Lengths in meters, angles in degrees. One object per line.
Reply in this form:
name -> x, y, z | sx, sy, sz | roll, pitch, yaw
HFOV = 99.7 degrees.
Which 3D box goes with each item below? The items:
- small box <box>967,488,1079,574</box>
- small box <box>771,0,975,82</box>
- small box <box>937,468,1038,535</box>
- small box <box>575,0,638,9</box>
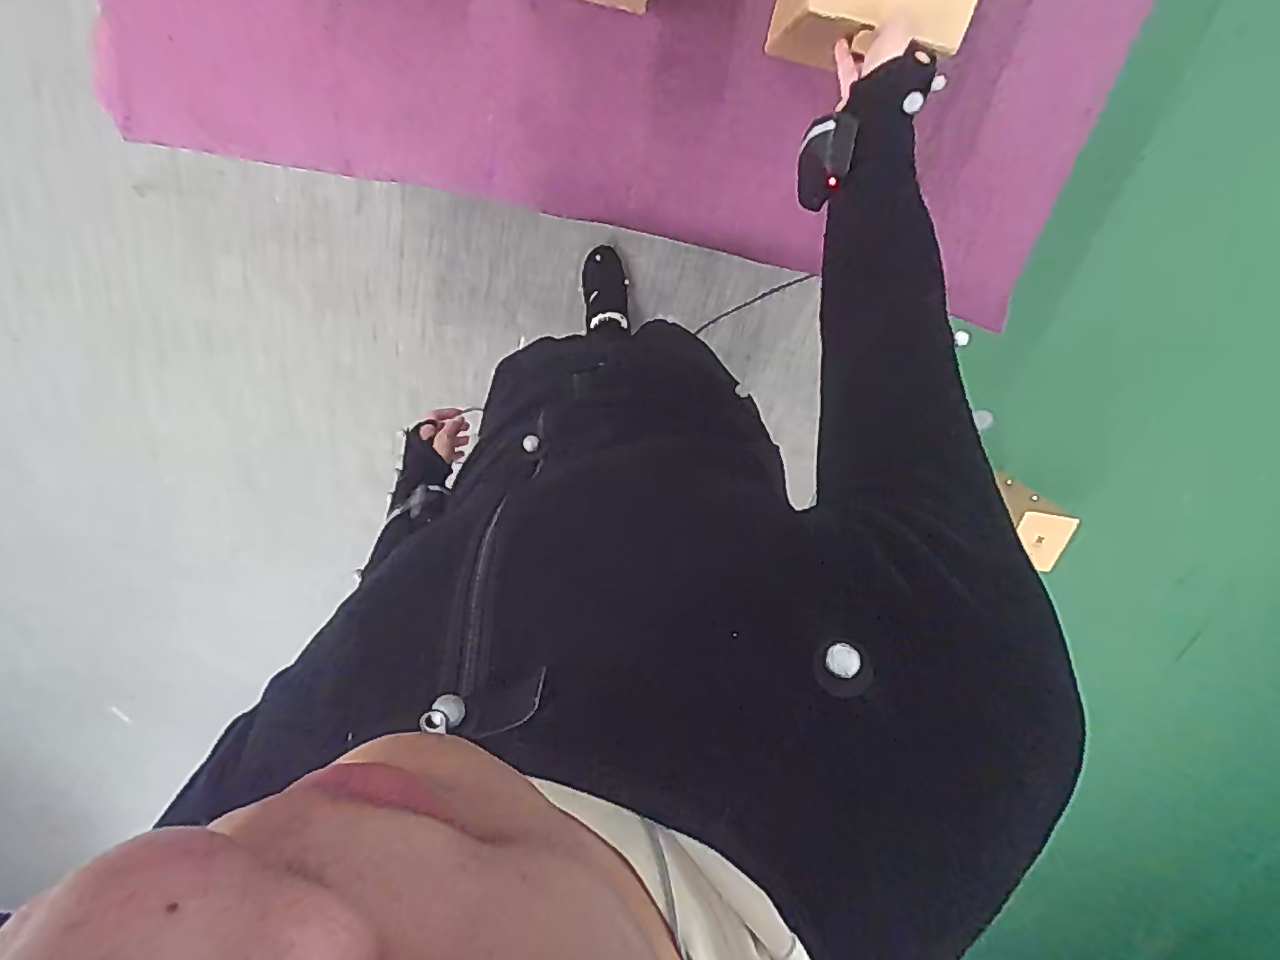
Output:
small box -> 1.083, 0.141, 1.549 | 0.168, 0.176, 0.179 | 9, 115, -7
small box -> 0.250, -0.548, 0.564 | 0.168, 0.176, 0.179 | 9, 116, -7
small box -> 1.080, 0.074, 1.700 | 0.179, 0.176, 0.168 | 9, 114, -8
small box -> -0.063, -0.601, 0.528 | 0.179, 0.176, 0.168 | 8, 115, -6
